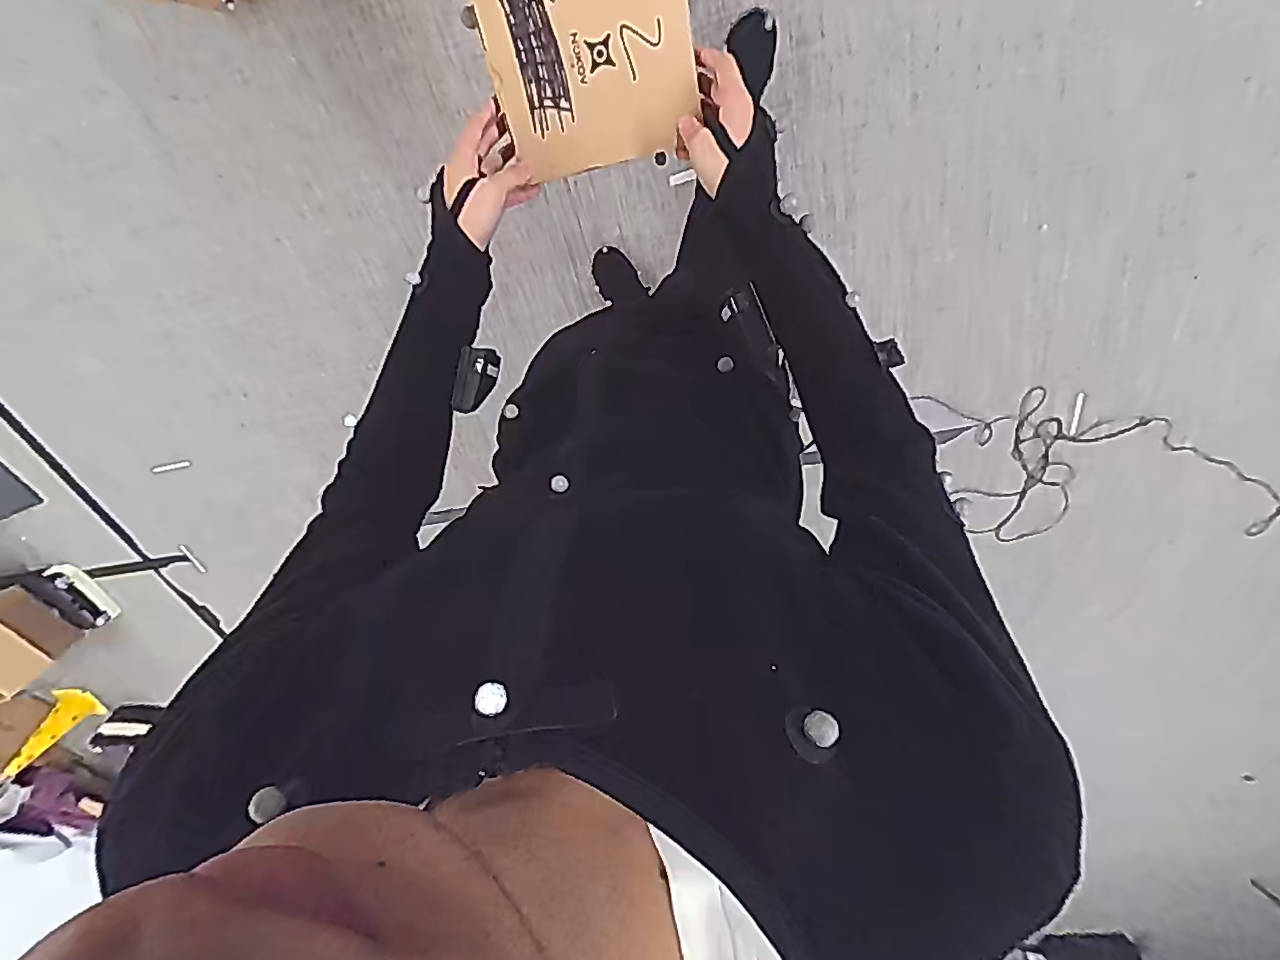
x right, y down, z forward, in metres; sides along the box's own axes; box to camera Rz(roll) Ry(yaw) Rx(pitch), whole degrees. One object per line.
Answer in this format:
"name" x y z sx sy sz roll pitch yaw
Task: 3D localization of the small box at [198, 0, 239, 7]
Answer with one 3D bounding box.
"small box" -0.875 -1.070 1.055 0.168 0.176 0.179 -7 122 10
